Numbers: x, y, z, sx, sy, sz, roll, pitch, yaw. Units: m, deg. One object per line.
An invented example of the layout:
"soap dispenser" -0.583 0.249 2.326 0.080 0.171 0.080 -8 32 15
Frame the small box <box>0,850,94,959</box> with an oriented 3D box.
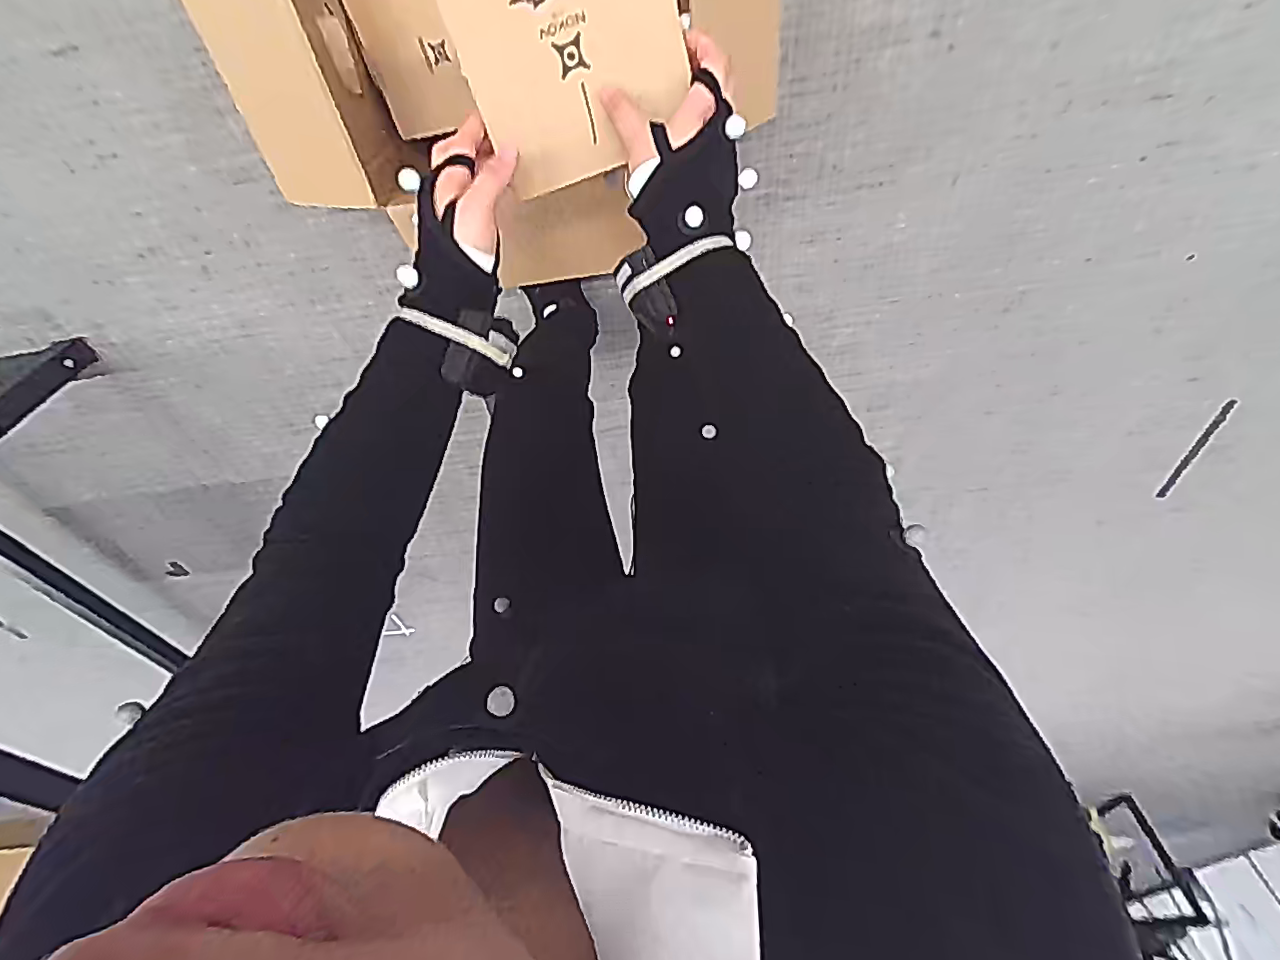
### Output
"small box" -1.249 0.846 1.063 0.179 0.176 0.168 -7 133 3
